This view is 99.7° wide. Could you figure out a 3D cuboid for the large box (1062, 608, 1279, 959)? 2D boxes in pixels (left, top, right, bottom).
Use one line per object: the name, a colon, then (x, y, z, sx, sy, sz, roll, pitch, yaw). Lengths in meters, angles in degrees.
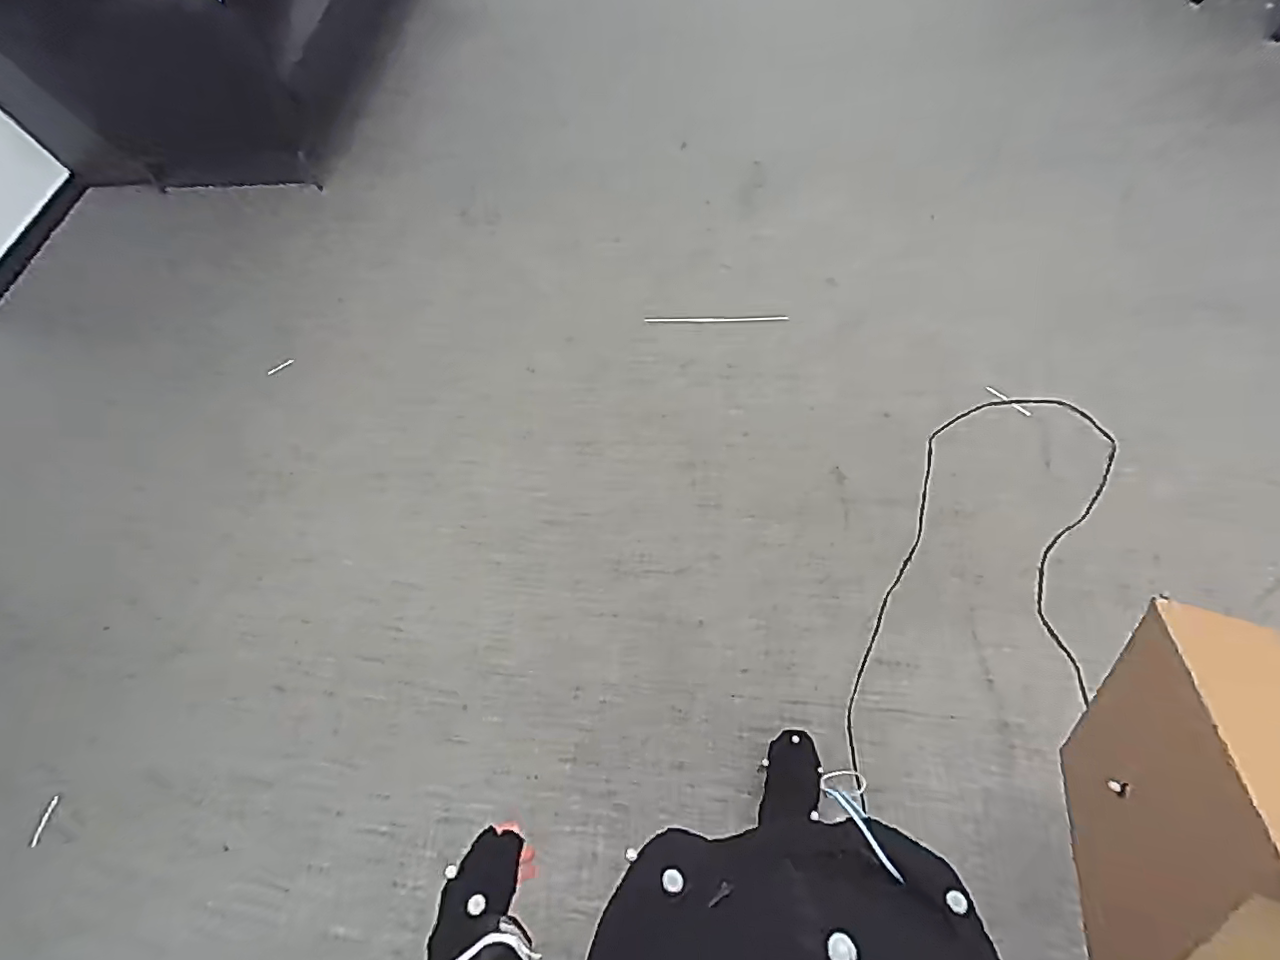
large box: (0.719, 0.418, 0.584, 0.320, 0.320, 0.408, 20, 29, 24)
